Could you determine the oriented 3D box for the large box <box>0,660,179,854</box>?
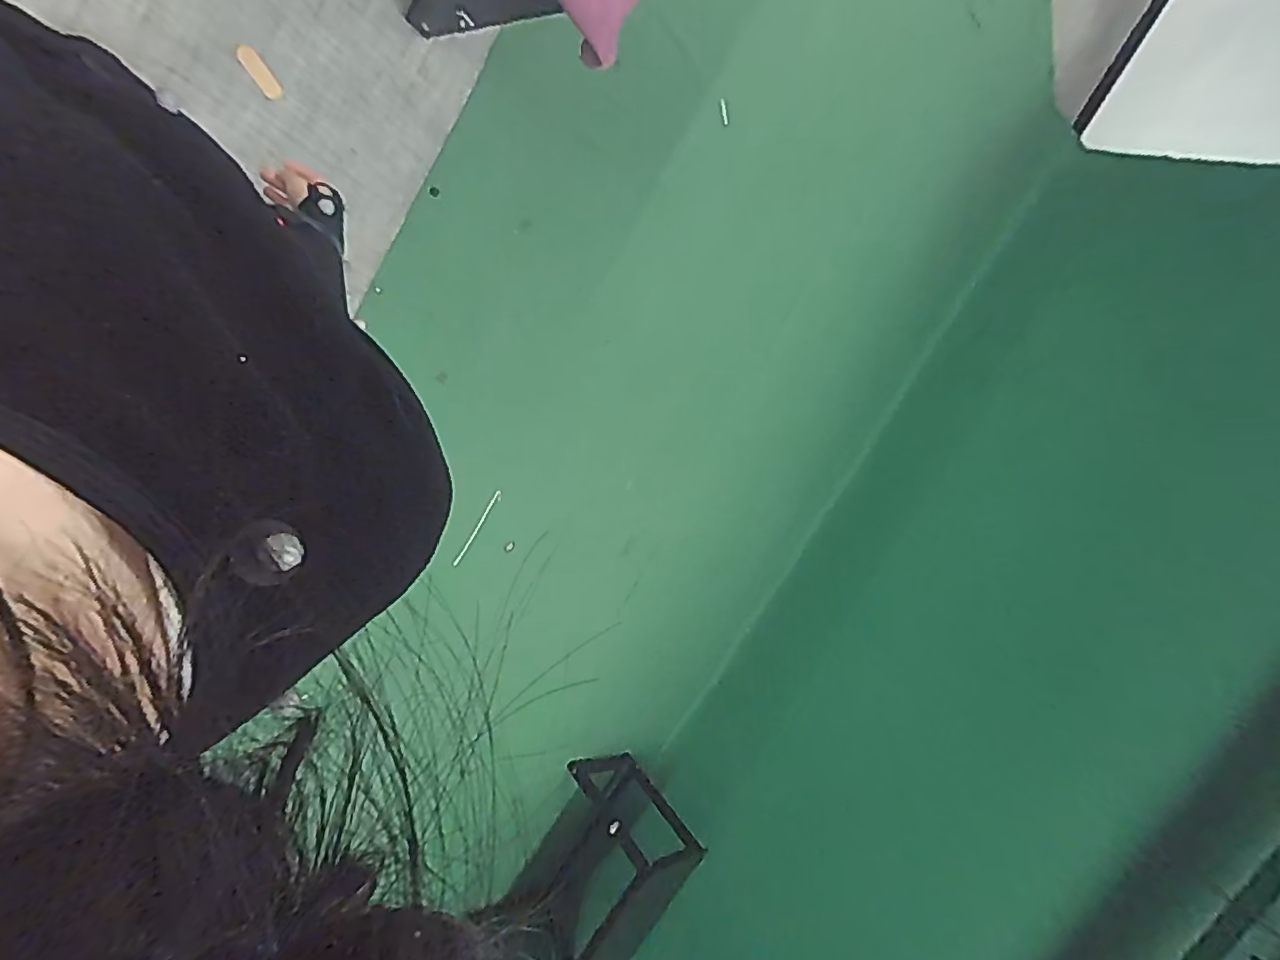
[{"bbox_3d":[-1.382,0.679,1.279,0.408,0.320,0.320,3,116,-47],"label":"large box"}]
